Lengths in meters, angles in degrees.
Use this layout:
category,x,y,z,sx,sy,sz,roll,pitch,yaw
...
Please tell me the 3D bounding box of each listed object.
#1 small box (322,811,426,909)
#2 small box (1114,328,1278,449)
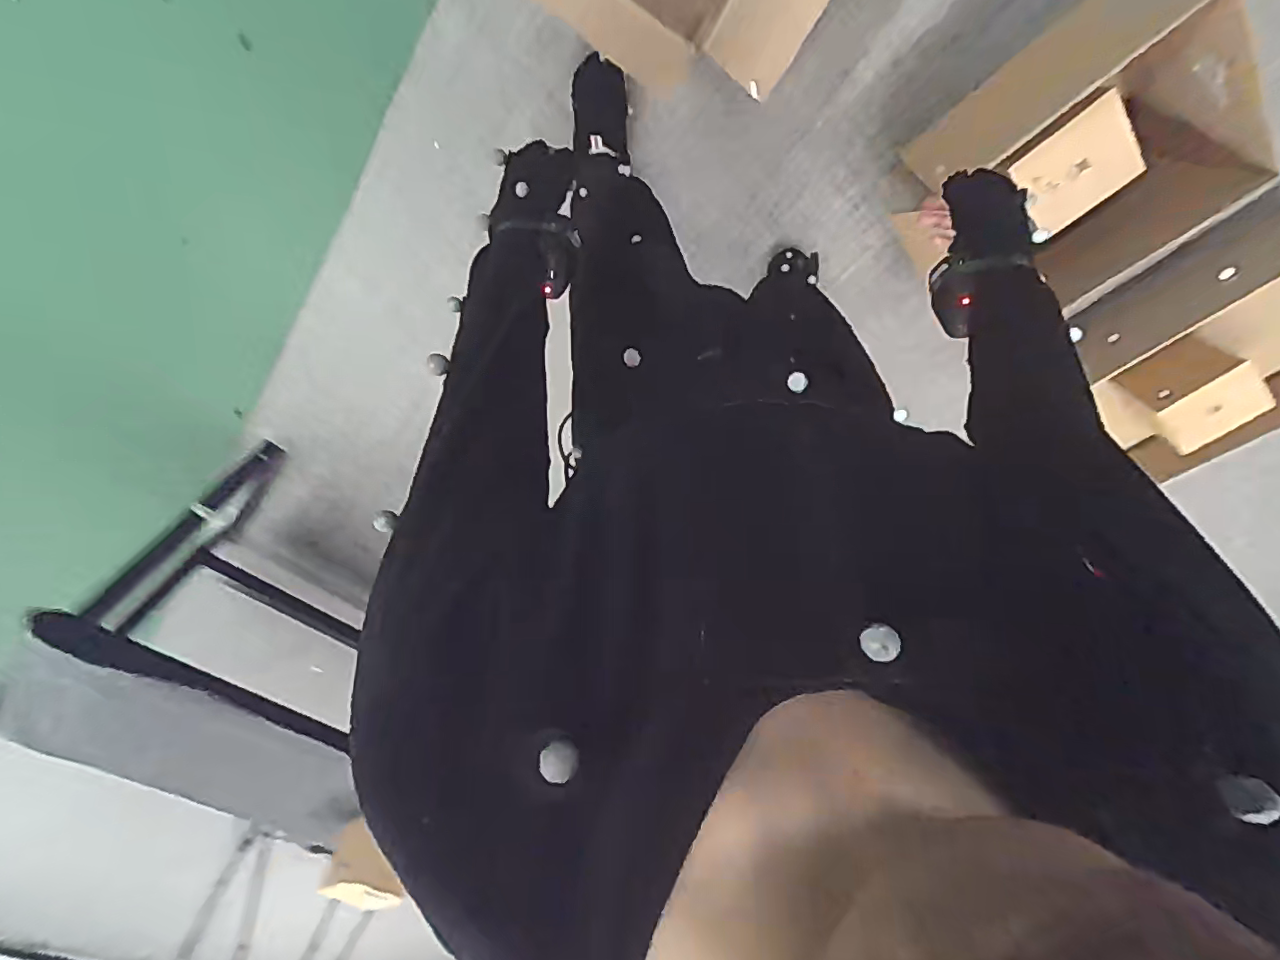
category,x,y,z,sx,sy,sz,roll,pitch,yaw
small box,-0.709,1.027,1.466,0.179,0.176,0.168,-35,117,27
small box,1.258,-0.213,1.235,0.168,0.176,0.179,35,122,-21
